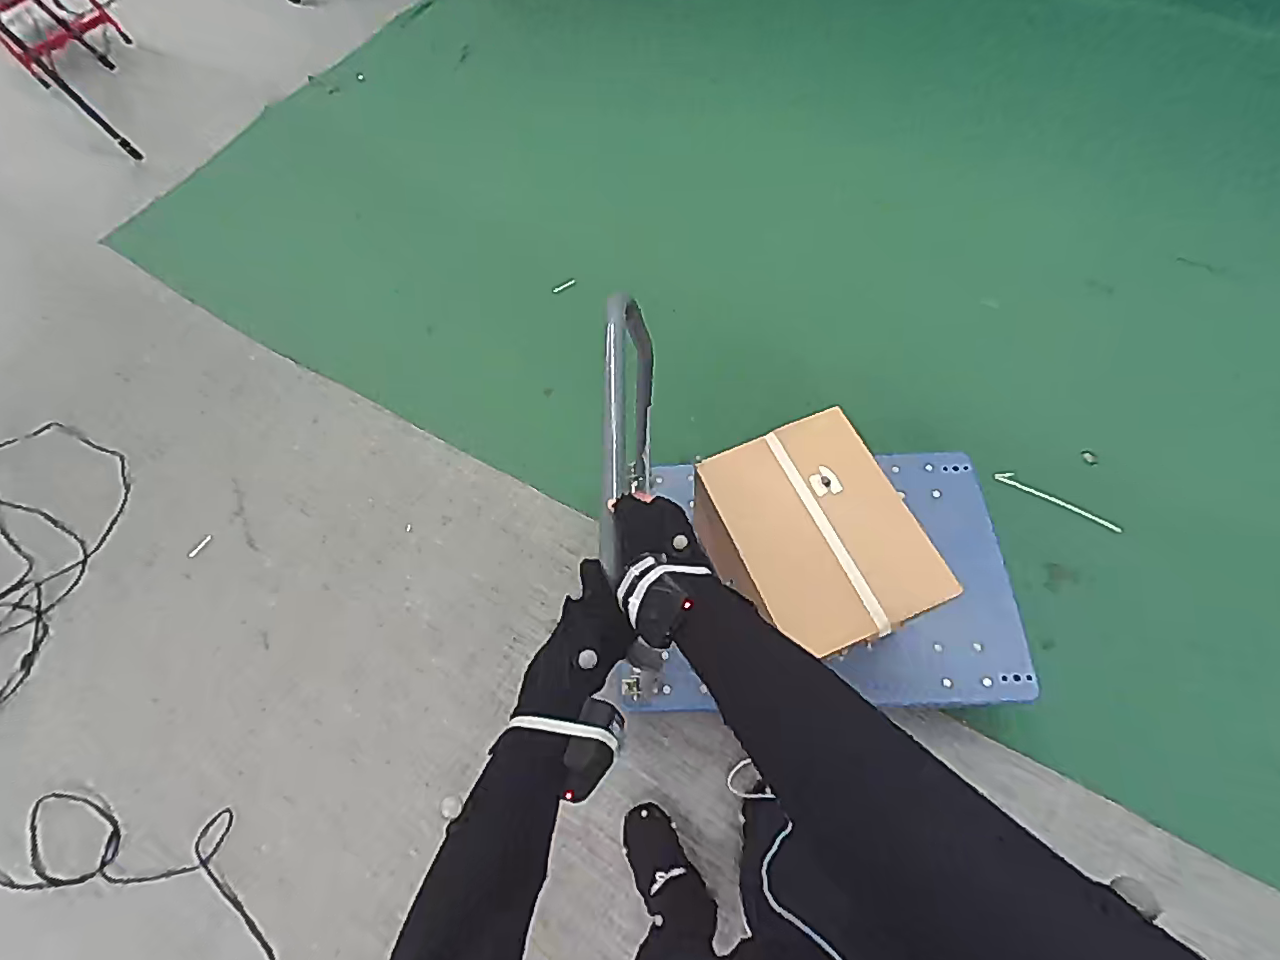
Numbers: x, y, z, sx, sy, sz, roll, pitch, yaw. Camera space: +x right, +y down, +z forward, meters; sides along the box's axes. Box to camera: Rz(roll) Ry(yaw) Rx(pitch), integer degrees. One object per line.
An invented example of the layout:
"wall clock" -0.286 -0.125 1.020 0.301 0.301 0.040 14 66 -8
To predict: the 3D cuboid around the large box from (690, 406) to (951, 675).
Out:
"large box" 0.324 0.135 1.104 0.320 0.320 0.408 -21 65 -5
